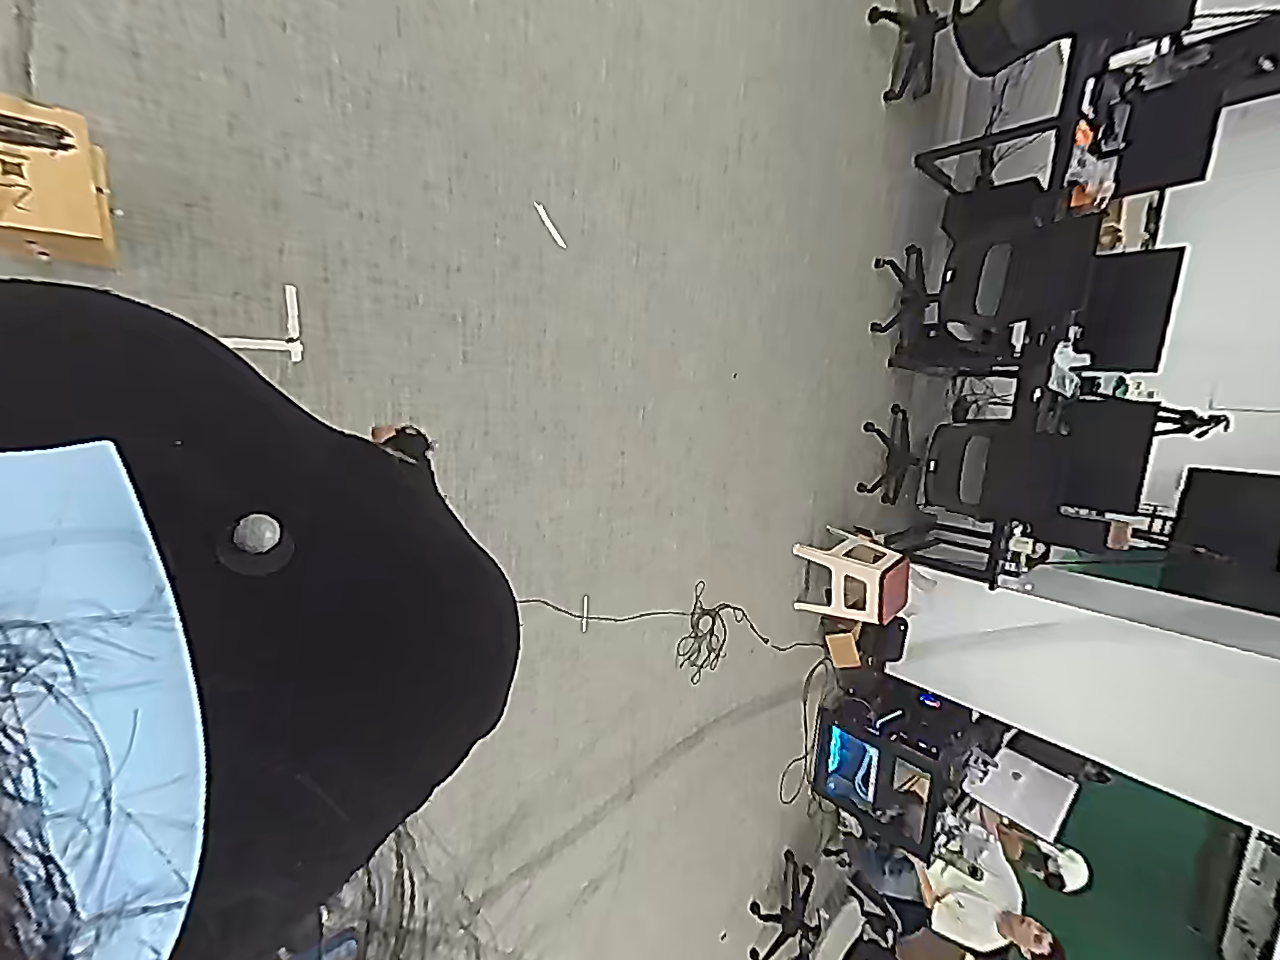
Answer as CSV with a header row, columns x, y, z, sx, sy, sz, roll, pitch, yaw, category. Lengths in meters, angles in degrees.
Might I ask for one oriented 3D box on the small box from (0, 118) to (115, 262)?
x,y,z,sx,sy,sz,roll,pitch,yaw,category
-1.030,-0.492,0.933,0.168,0.176,0.179,-7,104,-42,small box
